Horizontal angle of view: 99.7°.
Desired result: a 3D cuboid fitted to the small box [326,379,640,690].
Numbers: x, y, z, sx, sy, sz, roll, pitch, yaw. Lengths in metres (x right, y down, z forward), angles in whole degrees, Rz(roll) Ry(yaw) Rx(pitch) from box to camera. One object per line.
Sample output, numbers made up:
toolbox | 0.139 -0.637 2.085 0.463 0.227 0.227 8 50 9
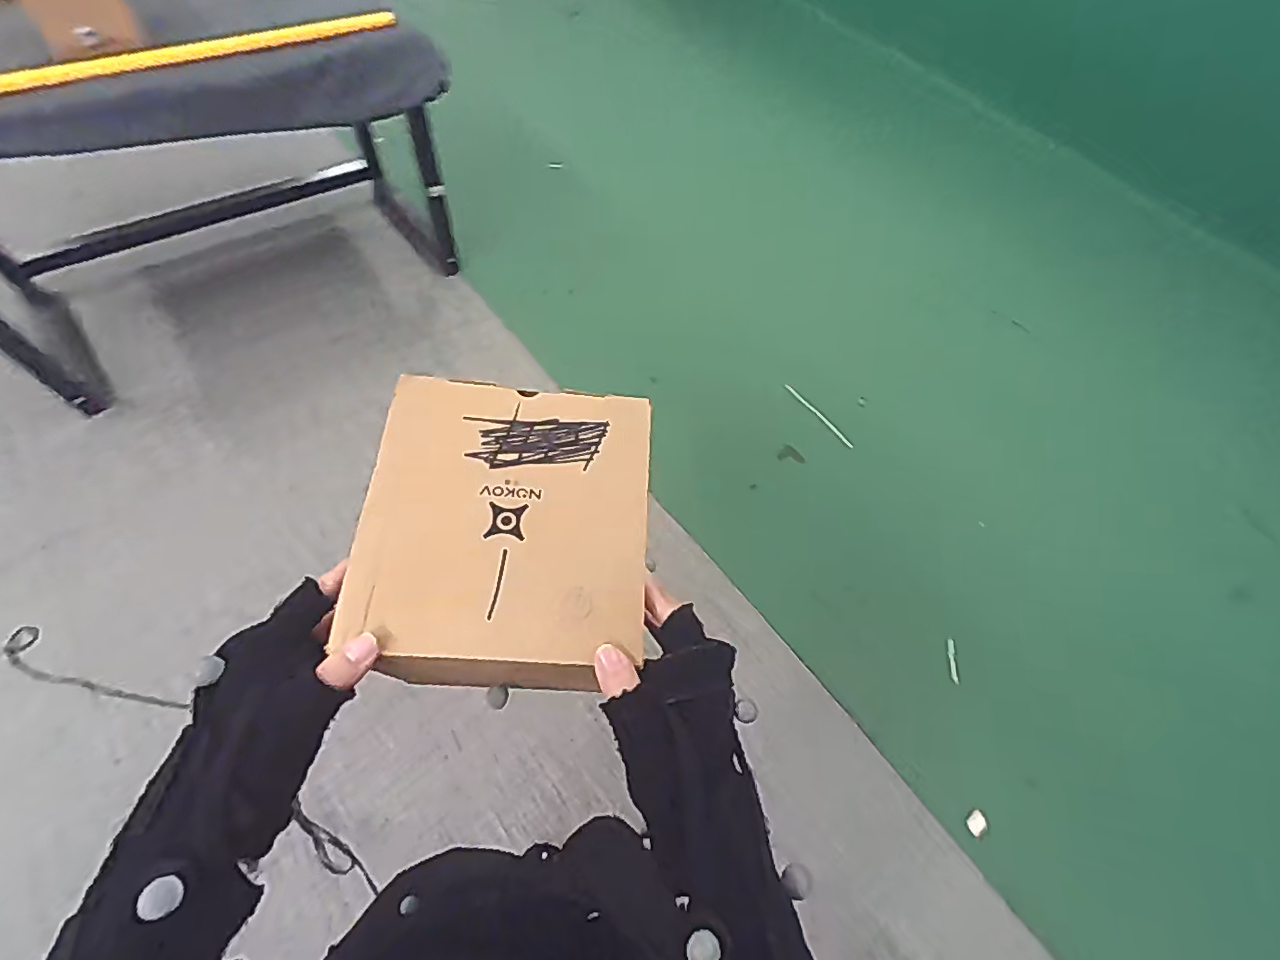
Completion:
small box | -0.093 0.051 0.399 0.168 0.176 0.179 4 64 -6

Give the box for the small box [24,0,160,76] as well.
small box | -1.170 -0.988 1.130 0.168 0.176 0.179 -34 70 -23
